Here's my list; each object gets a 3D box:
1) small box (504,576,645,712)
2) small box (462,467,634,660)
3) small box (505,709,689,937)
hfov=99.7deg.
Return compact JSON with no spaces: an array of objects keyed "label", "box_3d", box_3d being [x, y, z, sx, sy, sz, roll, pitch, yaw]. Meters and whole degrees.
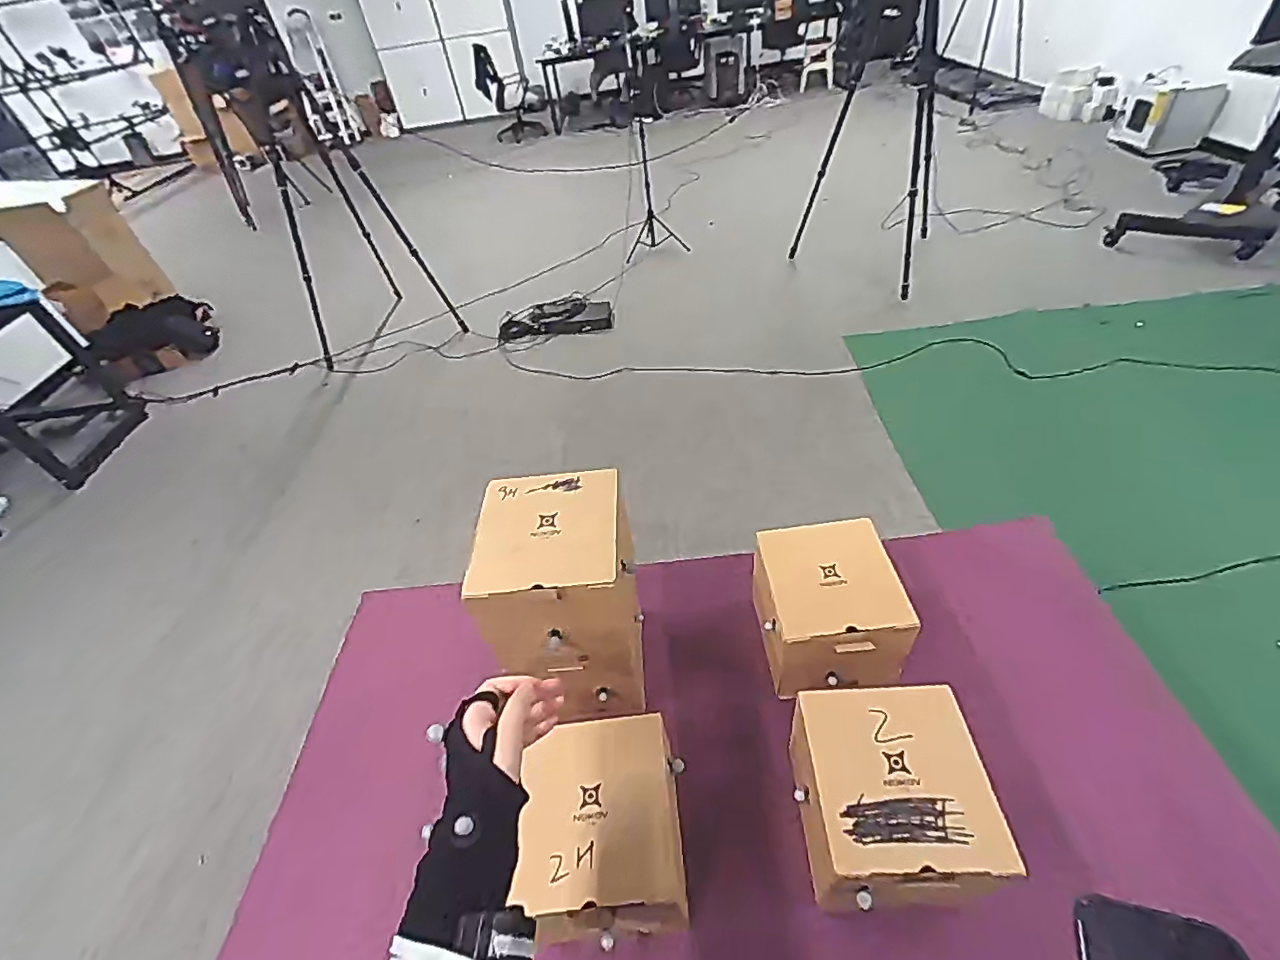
[{"label":"small box","box_3d":[-0.084,0.224,0.788,0.168,0.176,0.179,-6,45,4]},{"label":"small box","box_3d":[-0.098,0.109,0.671,0.168,0.176,0.179,-5,45,4]},{"label":"small box","box_3d":[-0.039,0.388,0.613,0.168,0.176,0.179,-9,44,3]}]
